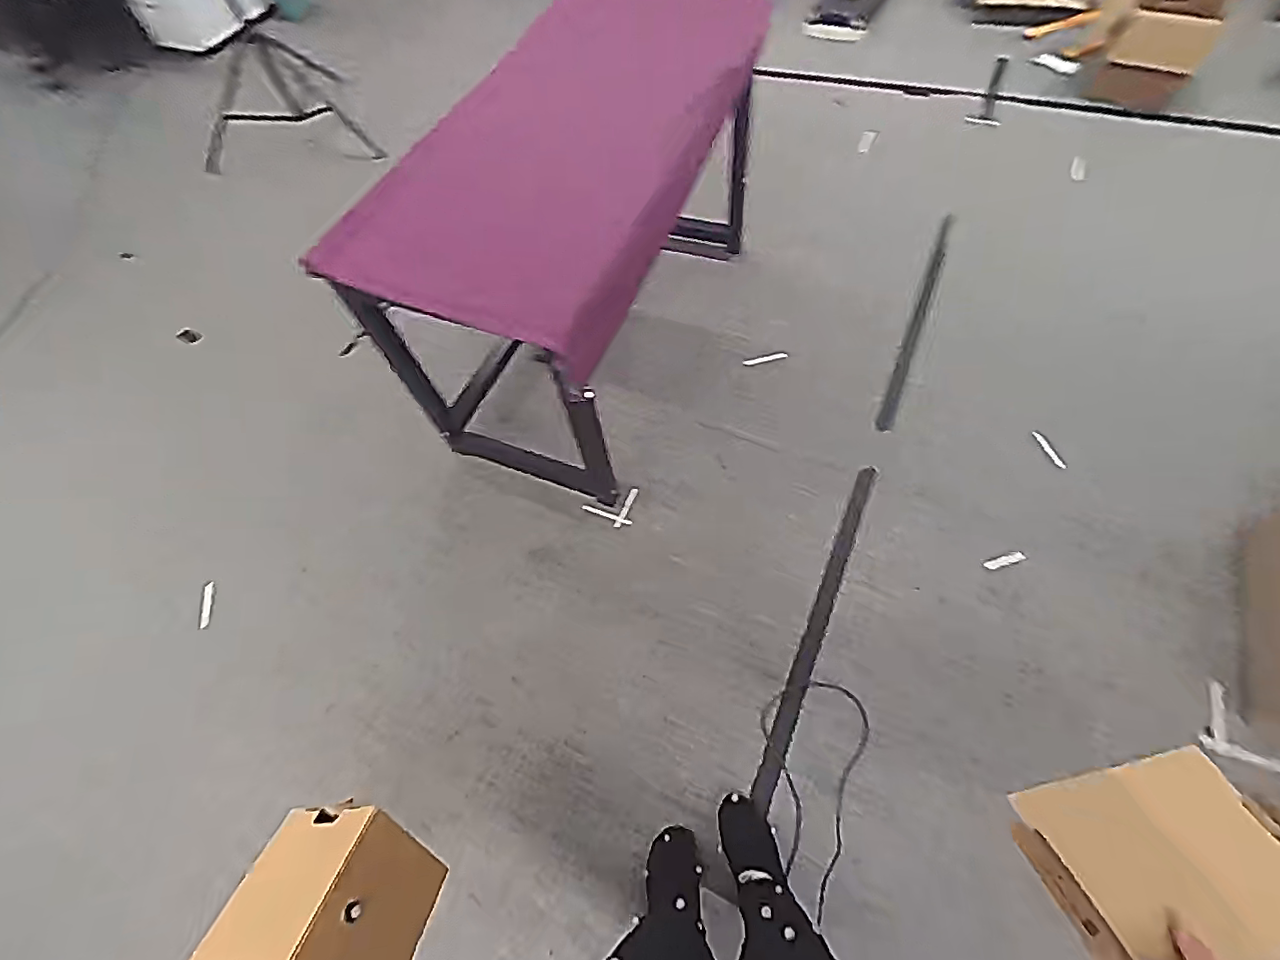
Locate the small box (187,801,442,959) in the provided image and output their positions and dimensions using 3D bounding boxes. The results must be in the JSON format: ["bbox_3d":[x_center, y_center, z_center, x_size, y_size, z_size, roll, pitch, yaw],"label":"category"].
[{"bbox_3d":[-0.382,0.532,0.671,0.168,0.176,0.179,-13,28,22],"label":"small box"}]
